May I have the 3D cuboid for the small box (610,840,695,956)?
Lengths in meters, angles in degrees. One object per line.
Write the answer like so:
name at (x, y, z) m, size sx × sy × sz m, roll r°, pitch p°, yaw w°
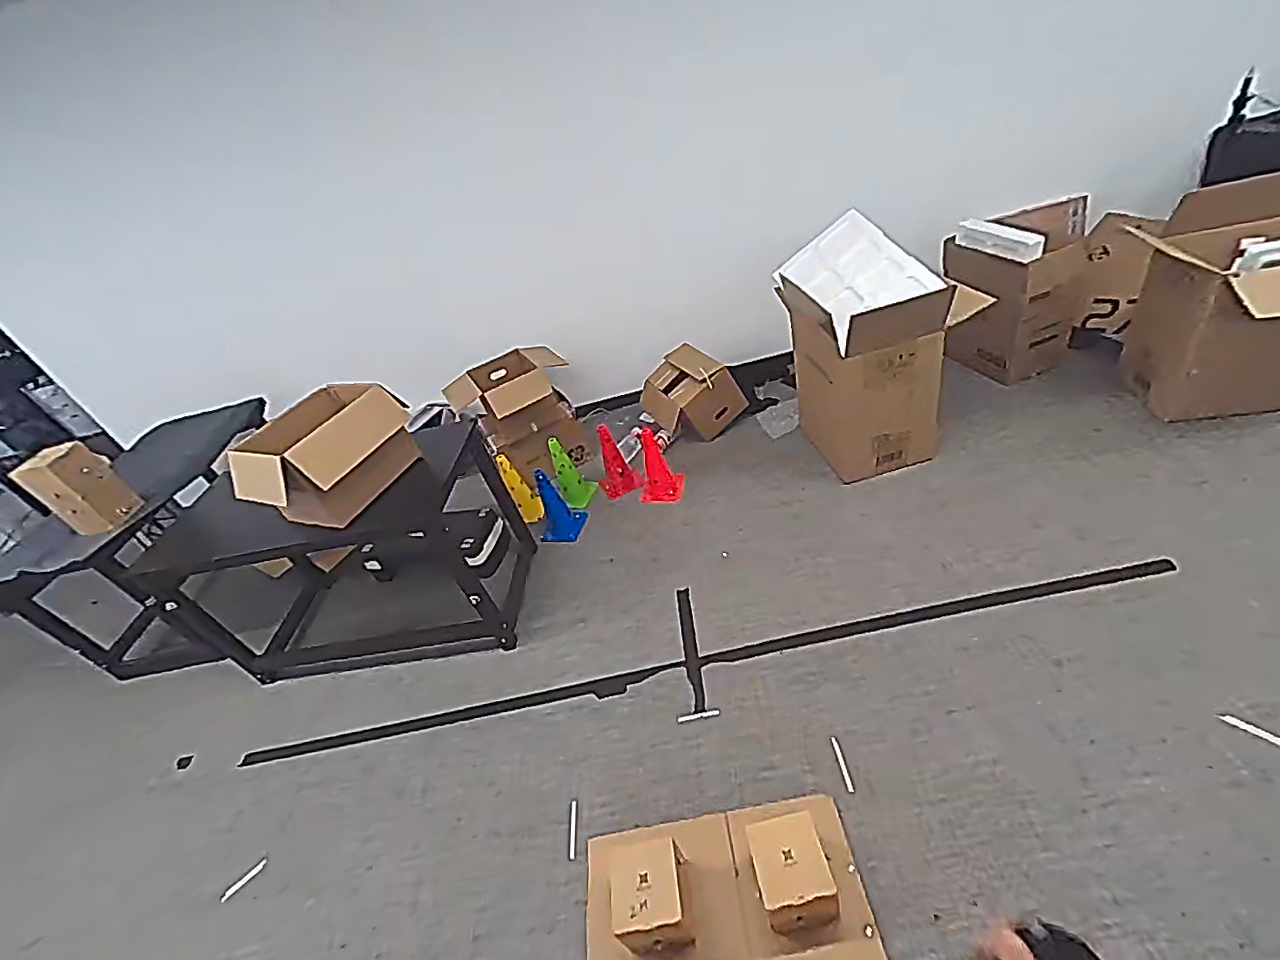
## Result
small box at (0.030, 1.024, 1.325) m, size 0.168 × 0.176 × 0.179 m, roll -15°, pitch 37°, yaw 5°

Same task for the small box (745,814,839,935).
small box at (0.363, 0.946, 1.298) m, size 0.168 × 0.176 × 0.179 m, roll -17°, pitch 36°, yaw 2°
